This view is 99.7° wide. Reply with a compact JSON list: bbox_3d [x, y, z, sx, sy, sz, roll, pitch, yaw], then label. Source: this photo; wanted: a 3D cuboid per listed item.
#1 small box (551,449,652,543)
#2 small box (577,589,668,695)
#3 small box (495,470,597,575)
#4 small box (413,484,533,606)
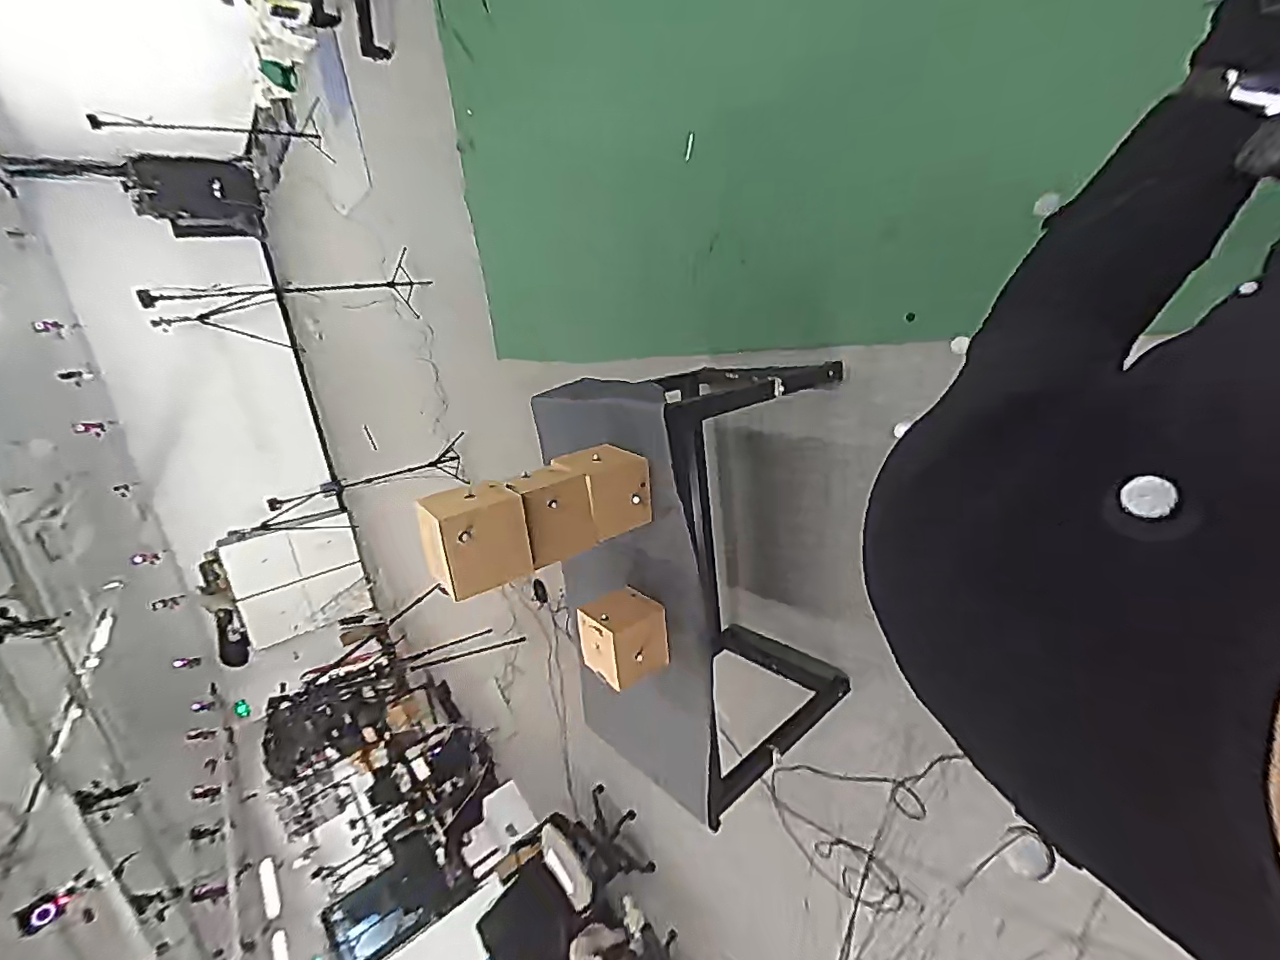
[{"bbox_3d":[-0.091,0.030,1.296,0.179,0.176,0.168,21,122,48],"label":"small box"},{"bbox_3d":[-0.041,0.414,1.412,0.168,0.176,0.179,16,119,50],"label":"small box"},{"bbox_3d":[-0.217,0.084,1.208,0.168,0.176,0.179,12,116,54],"label":"small box"},{"bbox_3d":[-0.335,0.119,1.096,0.168,0.176,0.179,19,121,51],"label":"small box"}]
